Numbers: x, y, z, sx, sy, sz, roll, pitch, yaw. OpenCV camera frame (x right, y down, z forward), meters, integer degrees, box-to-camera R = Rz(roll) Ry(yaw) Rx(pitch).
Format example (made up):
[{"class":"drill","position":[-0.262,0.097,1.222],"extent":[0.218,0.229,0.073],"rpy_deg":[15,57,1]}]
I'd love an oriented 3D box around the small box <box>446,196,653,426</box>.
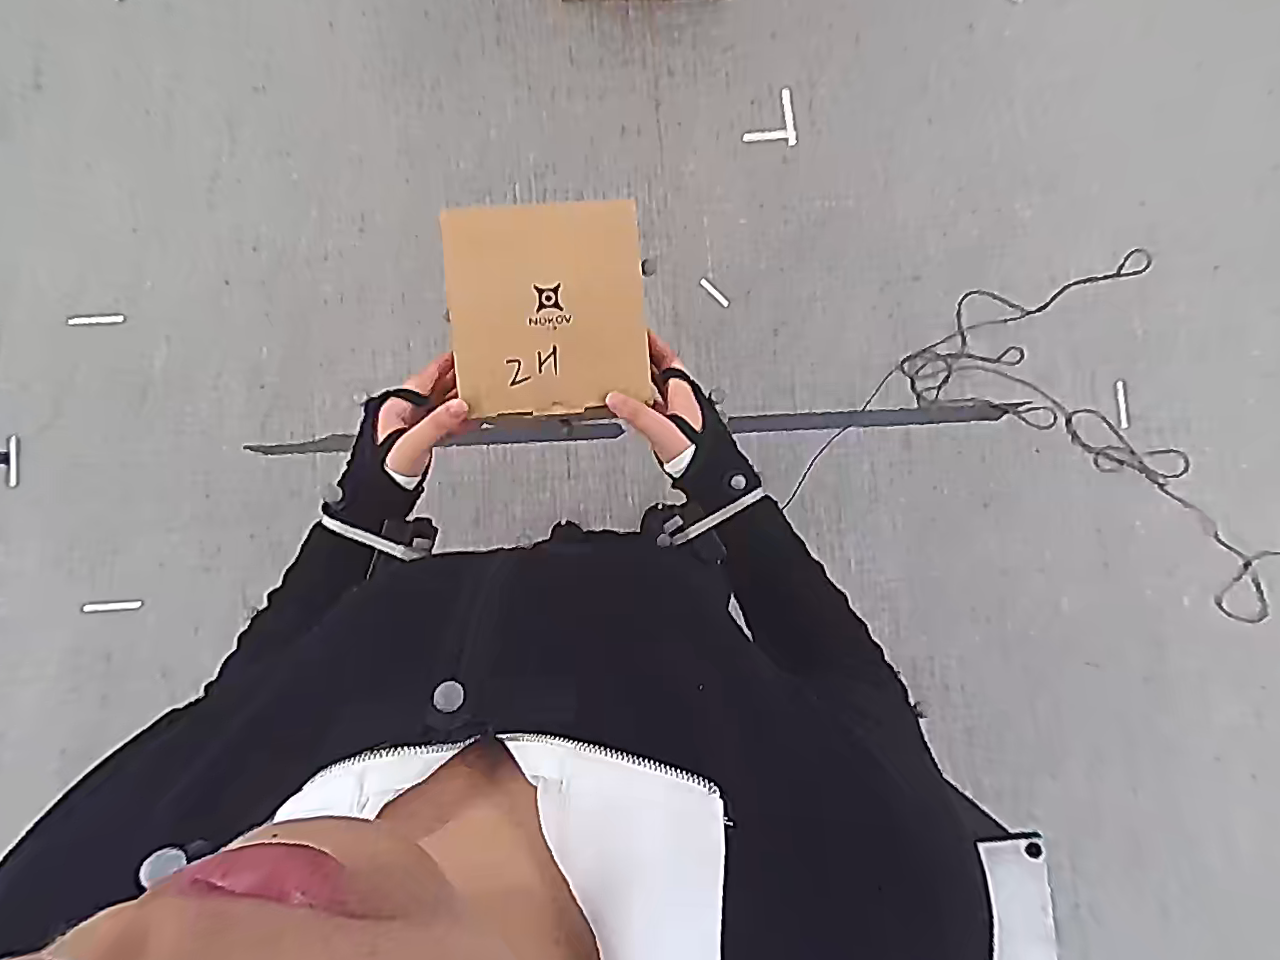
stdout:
[{"class":"small box","position":[-0.082,-0.152,0.537],"extent":[0.168,0.176,0.179],"rpy_deg":[-5,92,-3]}]
